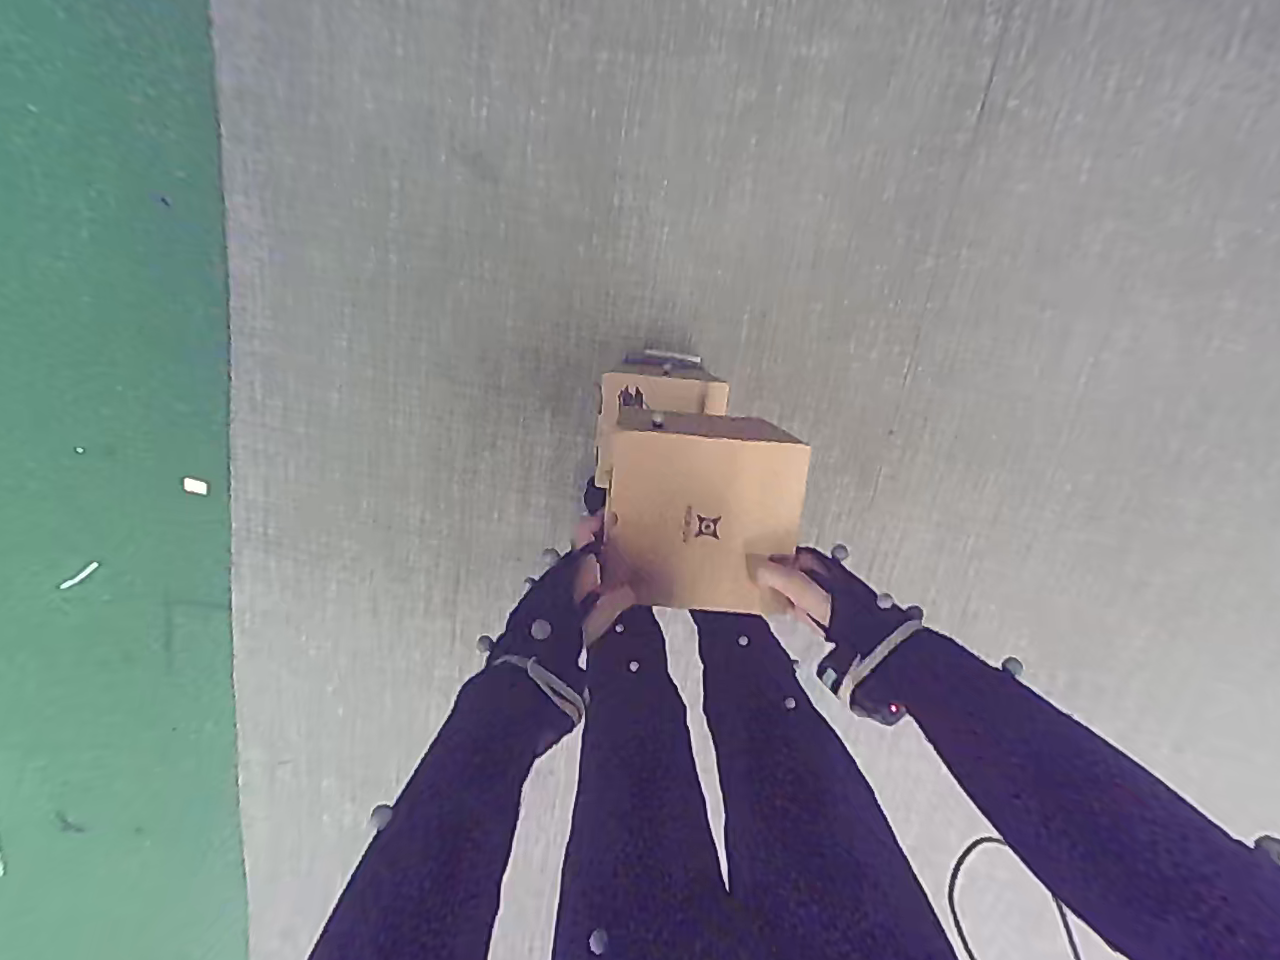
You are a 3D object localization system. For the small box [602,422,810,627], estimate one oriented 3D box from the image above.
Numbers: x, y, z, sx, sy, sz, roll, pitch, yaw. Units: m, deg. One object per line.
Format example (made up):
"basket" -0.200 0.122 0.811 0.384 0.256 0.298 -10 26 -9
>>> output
"small box" 0.058 0.035 0.568 0.179 0.176 0.168 4 104 0
